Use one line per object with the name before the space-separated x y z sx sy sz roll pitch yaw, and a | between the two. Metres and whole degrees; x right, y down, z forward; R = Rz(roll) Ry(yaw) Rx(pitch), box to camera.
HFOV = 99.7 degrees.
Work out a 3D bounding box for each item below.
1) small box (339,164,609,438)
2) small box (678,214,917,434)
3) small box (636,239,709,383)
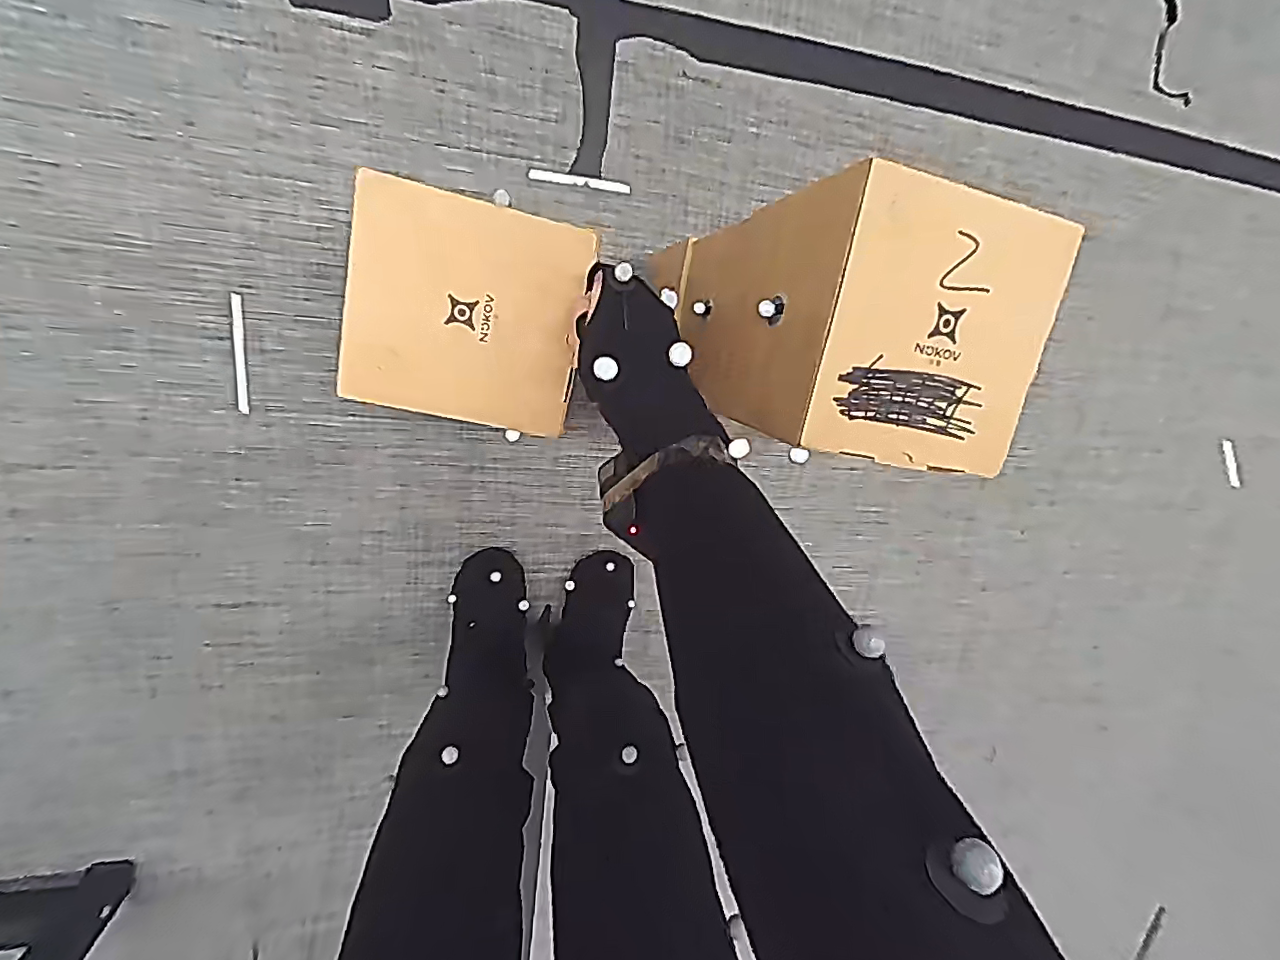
small box | -0.138 -0.146 0.481 0.179 0.176 0.168 10 103 -13
small box | 0.149 -0.158 0.577 0.168 0.176 0.179 6 104 -15
small box | 0.109 -0.210 0.729 0.179 0.176 0.168 7 104 -16
